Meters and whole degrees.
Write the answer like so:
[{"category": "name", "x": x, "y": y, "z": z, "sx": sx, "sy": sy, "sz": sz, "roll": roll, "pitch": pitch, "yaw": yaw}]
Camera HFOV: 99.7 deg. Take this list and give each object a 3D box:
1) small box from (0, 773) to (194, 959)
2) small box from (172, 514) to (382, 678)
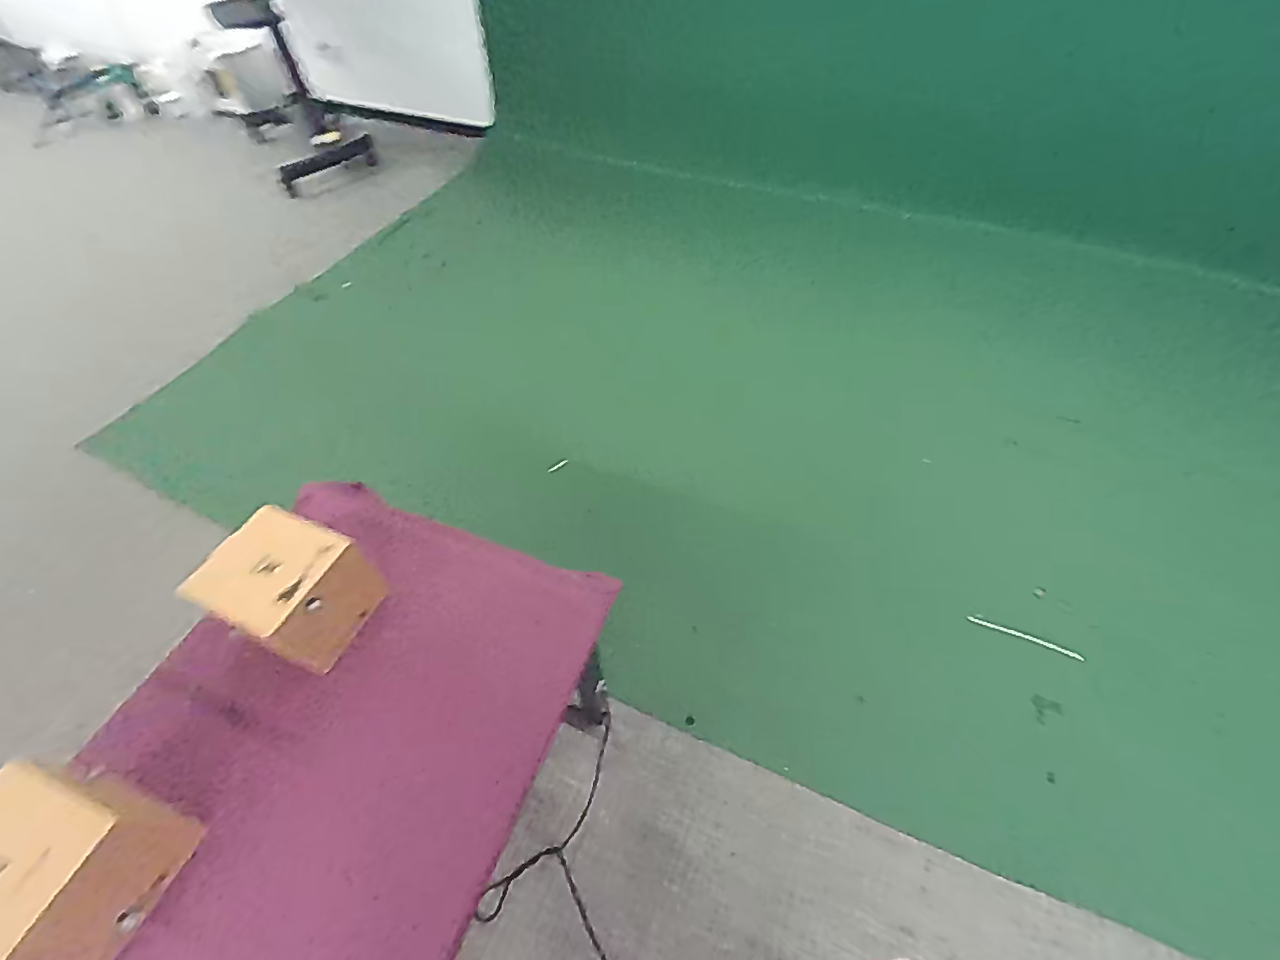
[{"category": "small box", "x": -0.696, "y": 0.474, "z": 0.630, "sx": 0.179, "sy": 0.176, "sz": 0.168, "roll": 17, "pitch": 55, "yaw": 12}, {"category": "small box", "x": -0.552, "y": 0.186, "z": 0.849, "sx": 0.179, "sy": 0.176, "sz": 0.168, "roll": 18, "pitch": 56, "yaw": 14}]
